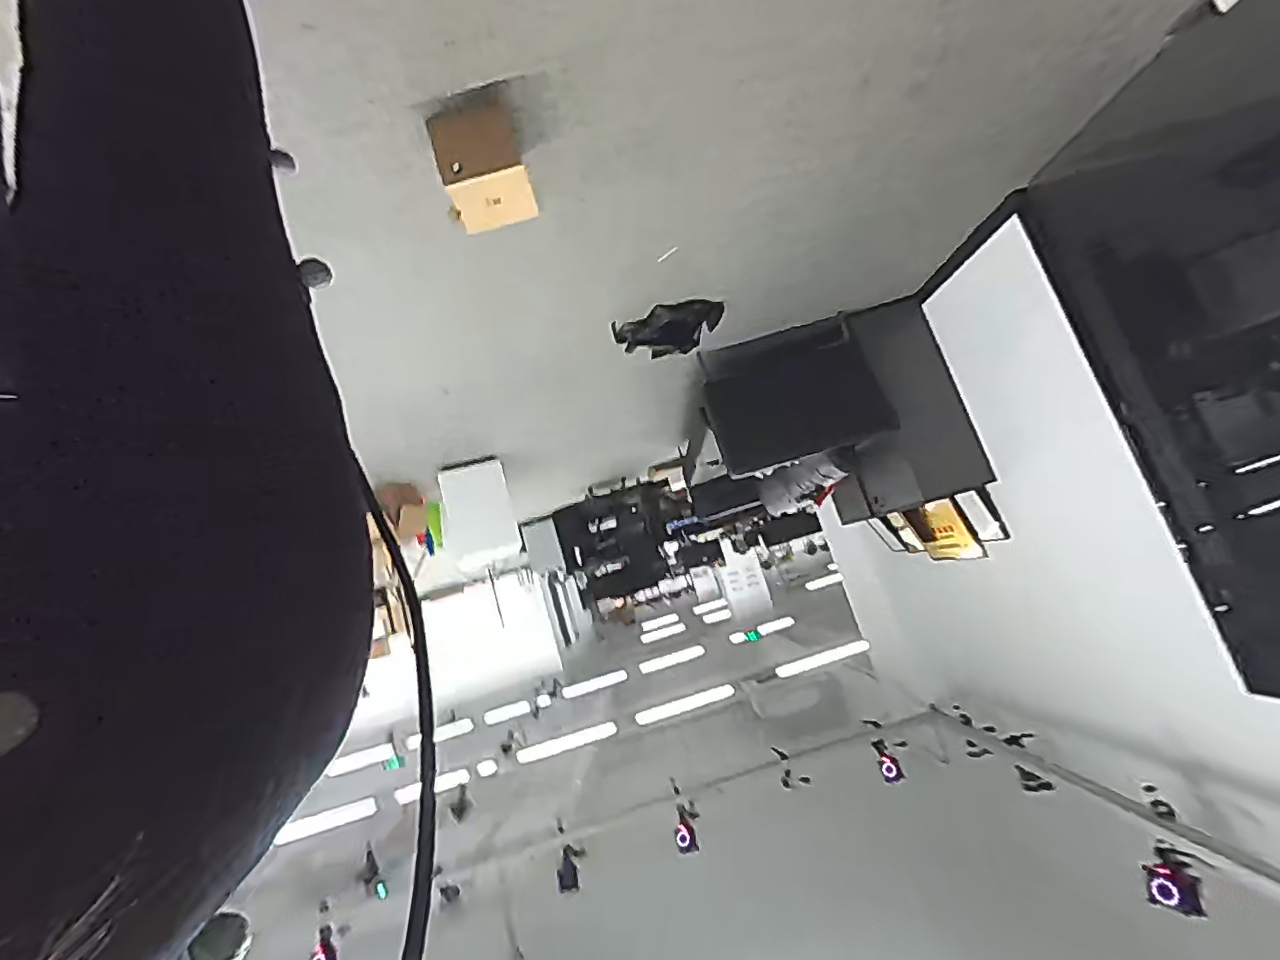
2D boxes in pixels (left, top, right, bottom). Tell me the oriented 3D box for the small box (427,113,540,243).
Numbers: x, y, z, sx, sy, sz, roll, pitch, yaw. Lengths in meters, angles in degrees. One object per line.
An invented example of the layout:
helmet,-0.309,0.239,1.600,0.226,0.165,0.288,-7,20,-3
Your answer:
small box,-0.343,-0.670,1.200,0.179,0.176,0.168,-18,170,-1
